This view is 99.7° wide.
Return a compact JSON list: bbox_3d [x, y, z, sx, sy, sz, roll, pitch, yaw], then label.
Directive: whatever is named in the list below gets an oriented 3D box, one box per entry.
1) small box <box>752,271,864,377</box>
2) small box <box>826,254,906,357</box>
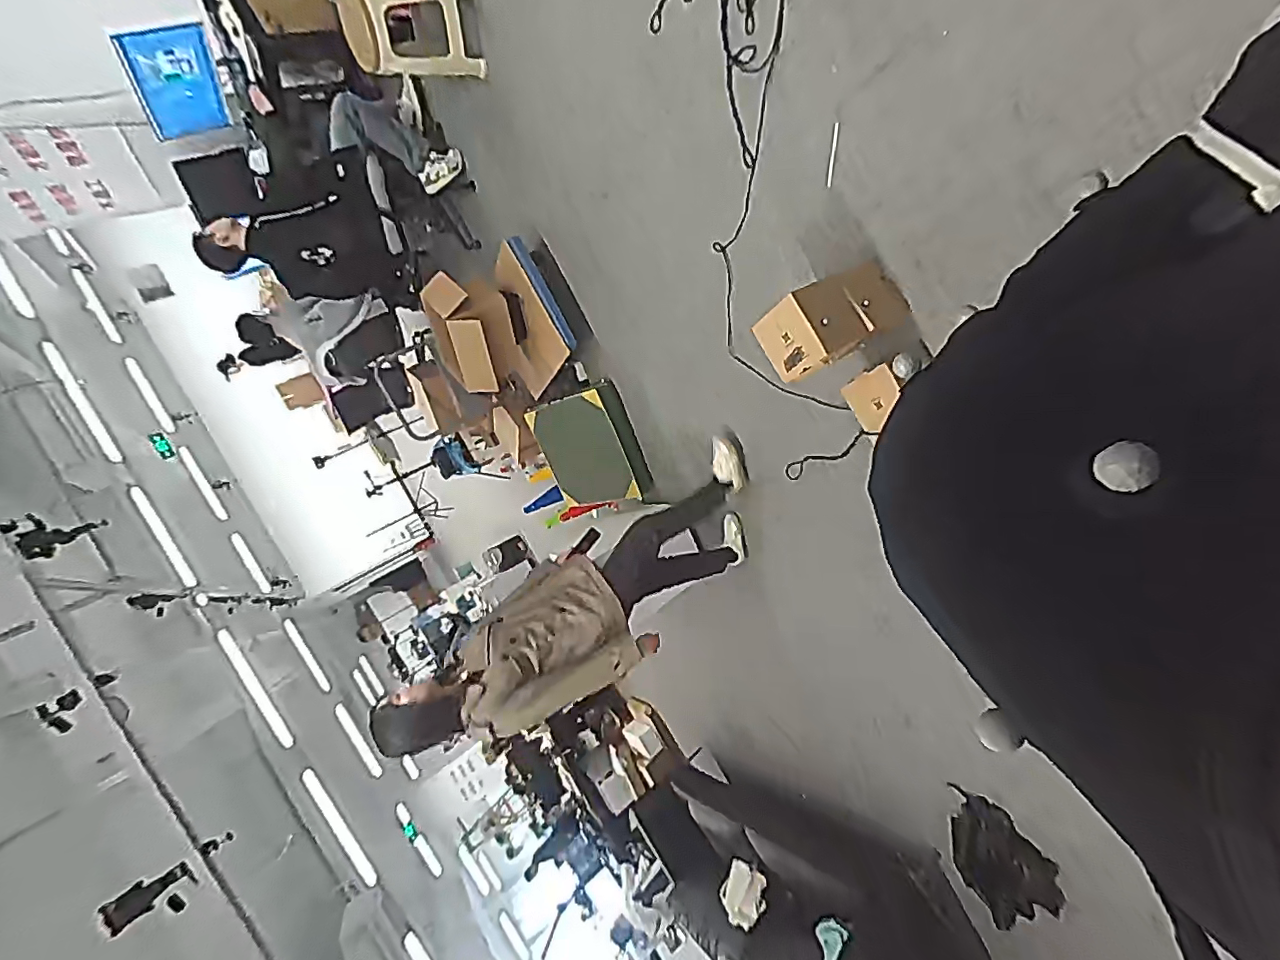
[{"bbox_3d":[0.425,-0.393,1.361,0.179,0.176,0.168,59,152,2],"label":"small box"},{"bbox_3d":[0.558,-0.461,1.431,0.168,0.176,0.179,56,153,6],"label":"small box"}]
